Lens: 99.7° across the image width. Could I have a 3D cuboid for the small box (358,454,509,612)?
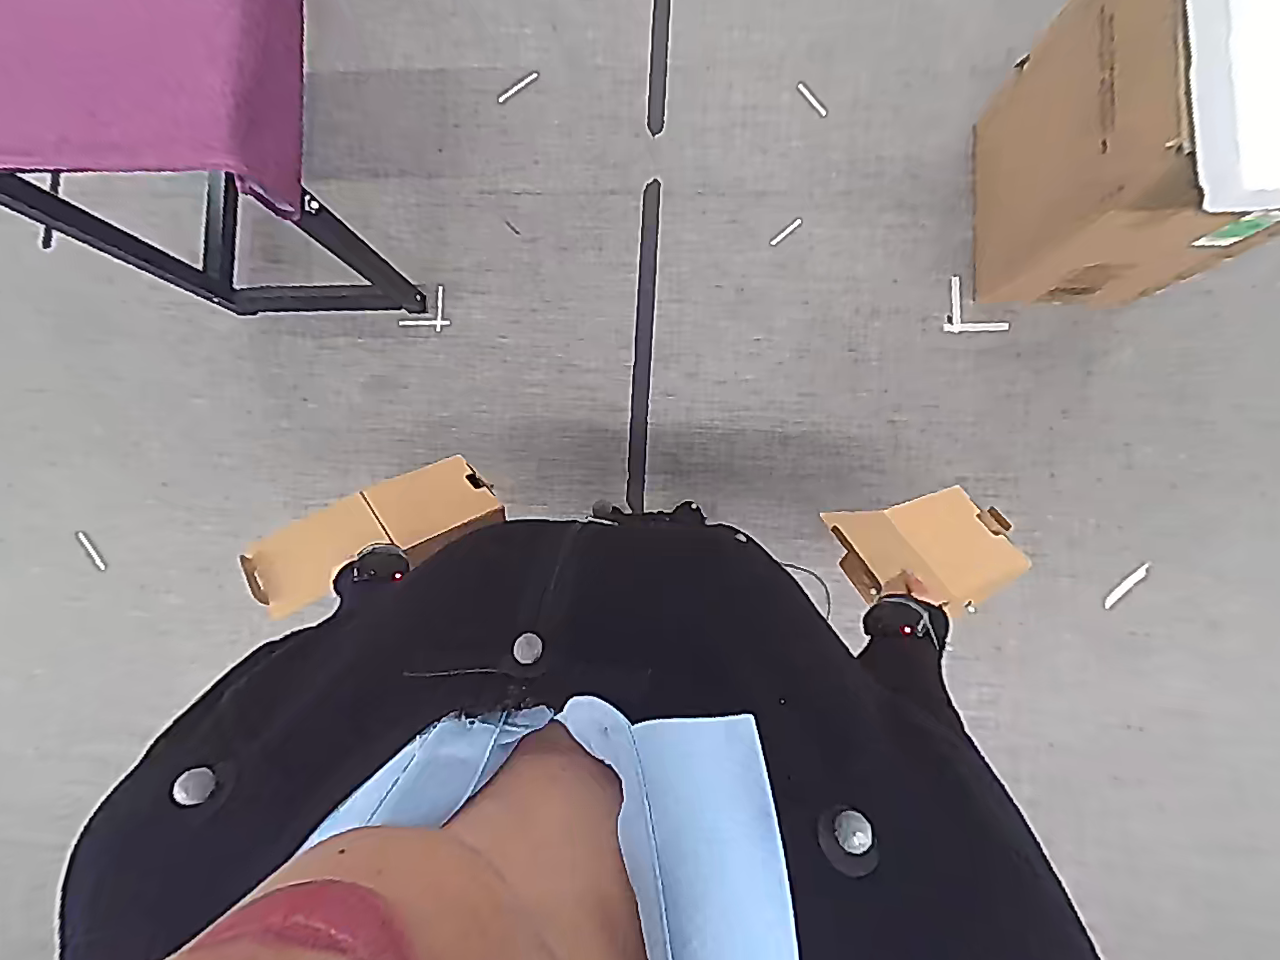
[{"bbox_3d":[-0.342,0.091,0.921,0.179,0.176,0.168,-28,50,-30],"label":"small box"}]
